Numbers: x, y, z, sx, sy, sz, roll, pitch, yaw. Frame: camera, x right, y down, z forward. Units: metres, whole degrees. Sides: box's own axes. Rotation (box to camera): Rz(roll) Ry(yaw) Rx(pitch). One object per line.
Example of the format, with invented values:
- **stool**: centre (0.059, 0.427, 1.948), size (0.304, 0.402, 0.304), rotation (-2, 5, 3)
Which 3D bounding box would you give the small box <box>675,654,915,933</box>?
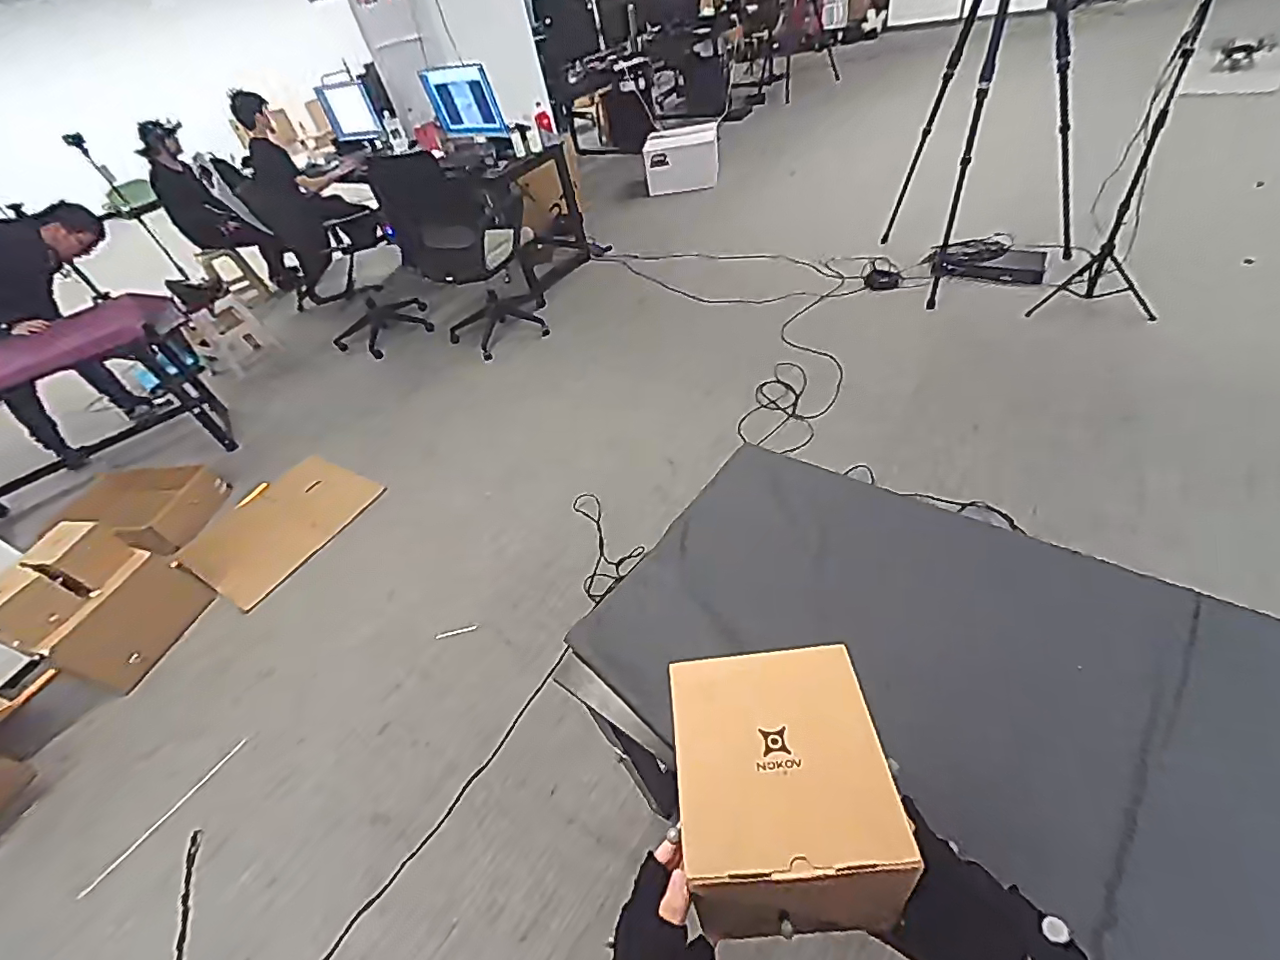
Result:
- **small box**: centre (0.125, 0.289, 0.503), size (0.168, 0.176, 0.179), rotation (-8, 40, 5)
